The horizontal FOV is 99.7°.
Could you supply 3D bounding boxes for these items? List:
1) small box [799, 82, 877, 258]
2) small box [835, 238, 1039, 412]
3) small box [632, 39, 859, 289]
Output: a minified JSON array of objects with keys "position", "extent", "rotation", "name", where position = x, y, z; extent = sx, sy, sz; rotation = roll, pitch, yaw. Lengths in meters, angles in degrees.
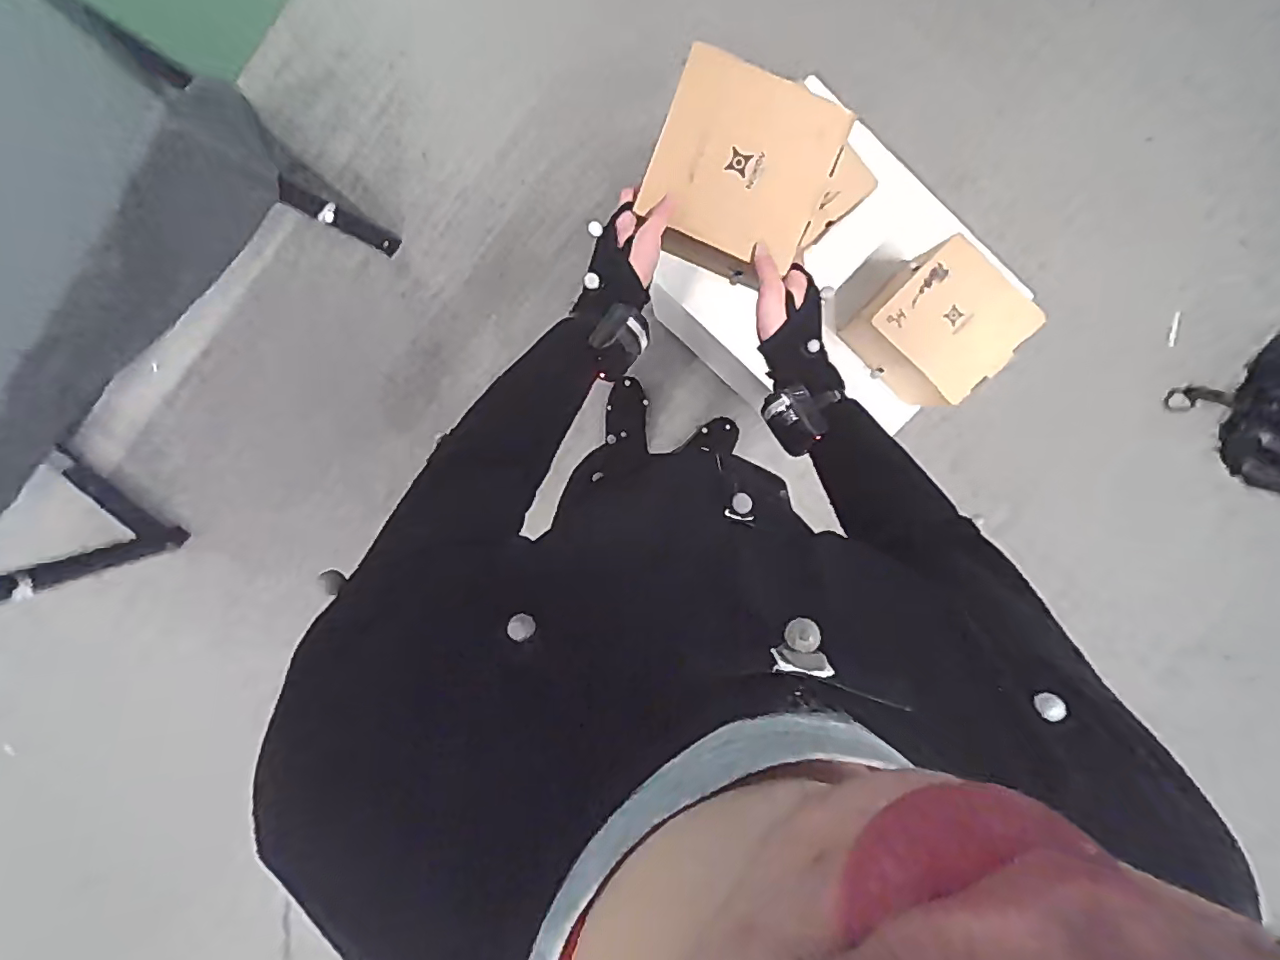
[{"position":[0.204,-0.416,0.799],"extent":[0.168,0.176,0.179],"rotation":[-39,96,6],"name":"small box"},{"position":[0.434,-0.224,0.820],"extent":[0.179,0.176,0.168],"rotation":[44,97,-5],"name":"small box"},{"position":[0.102,-0.326,0.603],"extent":[0.179,0.176,0.168],"rotation":[21,102,-3],"name":"small box"}]
